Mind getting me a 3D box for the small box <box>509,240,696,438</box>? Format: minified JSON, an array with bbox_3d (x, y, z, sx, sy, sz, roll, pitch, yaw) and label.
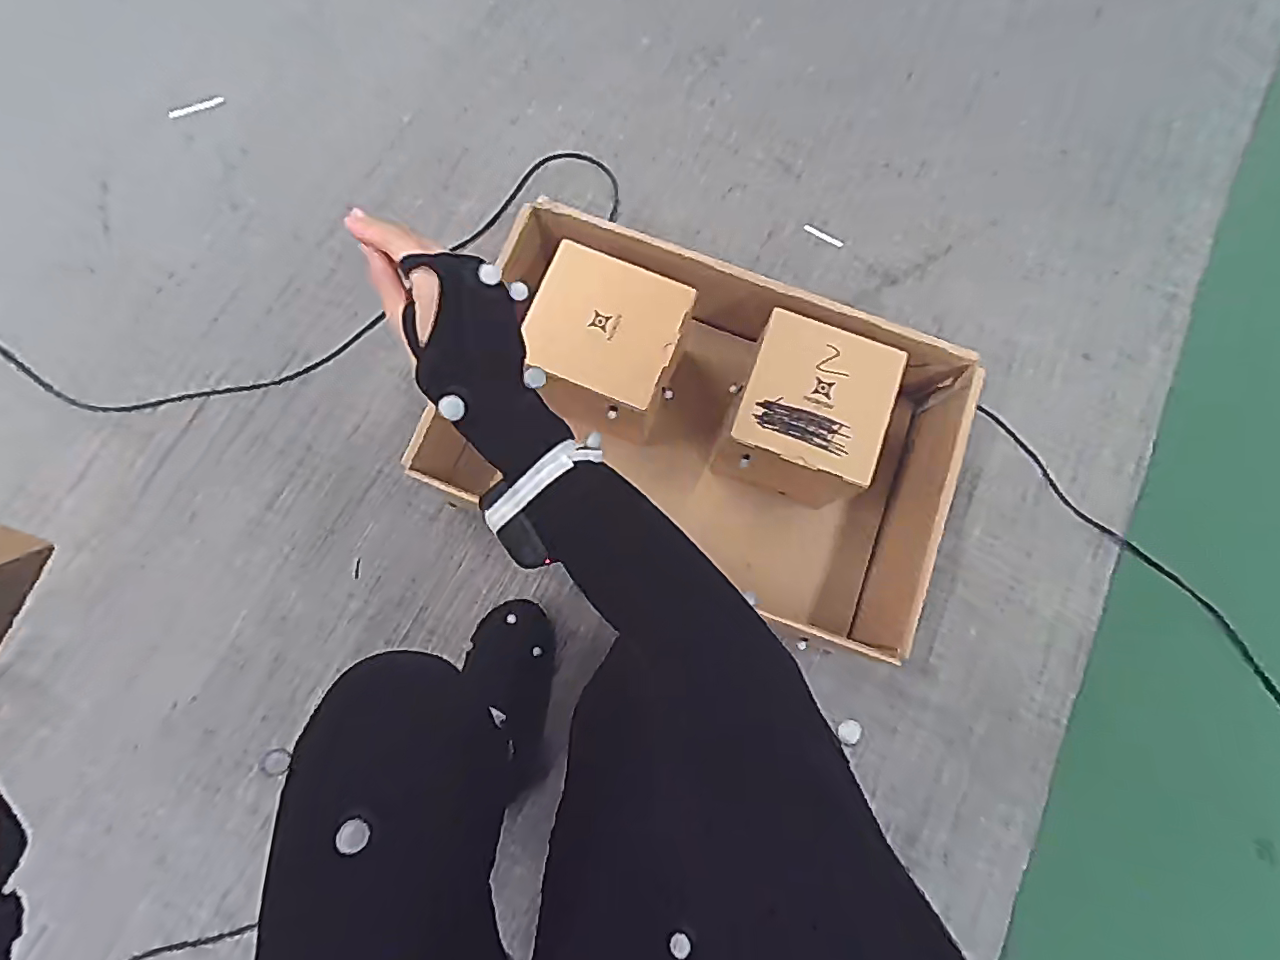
[{"bbox_3d":[-0.045,-0.170,0.709,0.179,0.176,0.168,22,80,1],"label":"small box"}]
